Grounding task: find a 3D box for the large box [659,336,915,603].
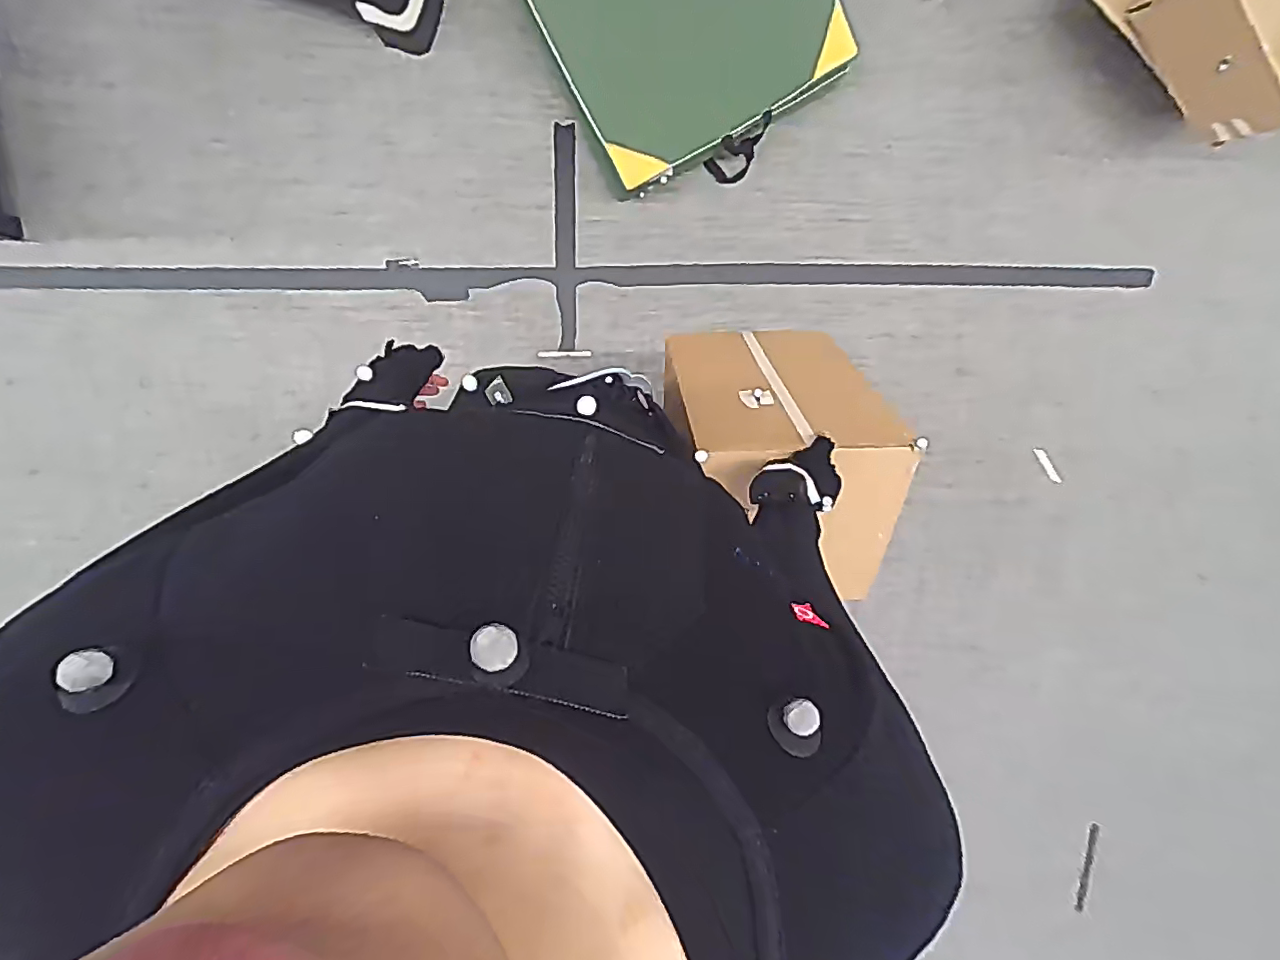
[{"bbox_3d":[0.213,-0.037,0.984,0.320,0.408,0.320,-3,128,-3],"label":"large box"}]
